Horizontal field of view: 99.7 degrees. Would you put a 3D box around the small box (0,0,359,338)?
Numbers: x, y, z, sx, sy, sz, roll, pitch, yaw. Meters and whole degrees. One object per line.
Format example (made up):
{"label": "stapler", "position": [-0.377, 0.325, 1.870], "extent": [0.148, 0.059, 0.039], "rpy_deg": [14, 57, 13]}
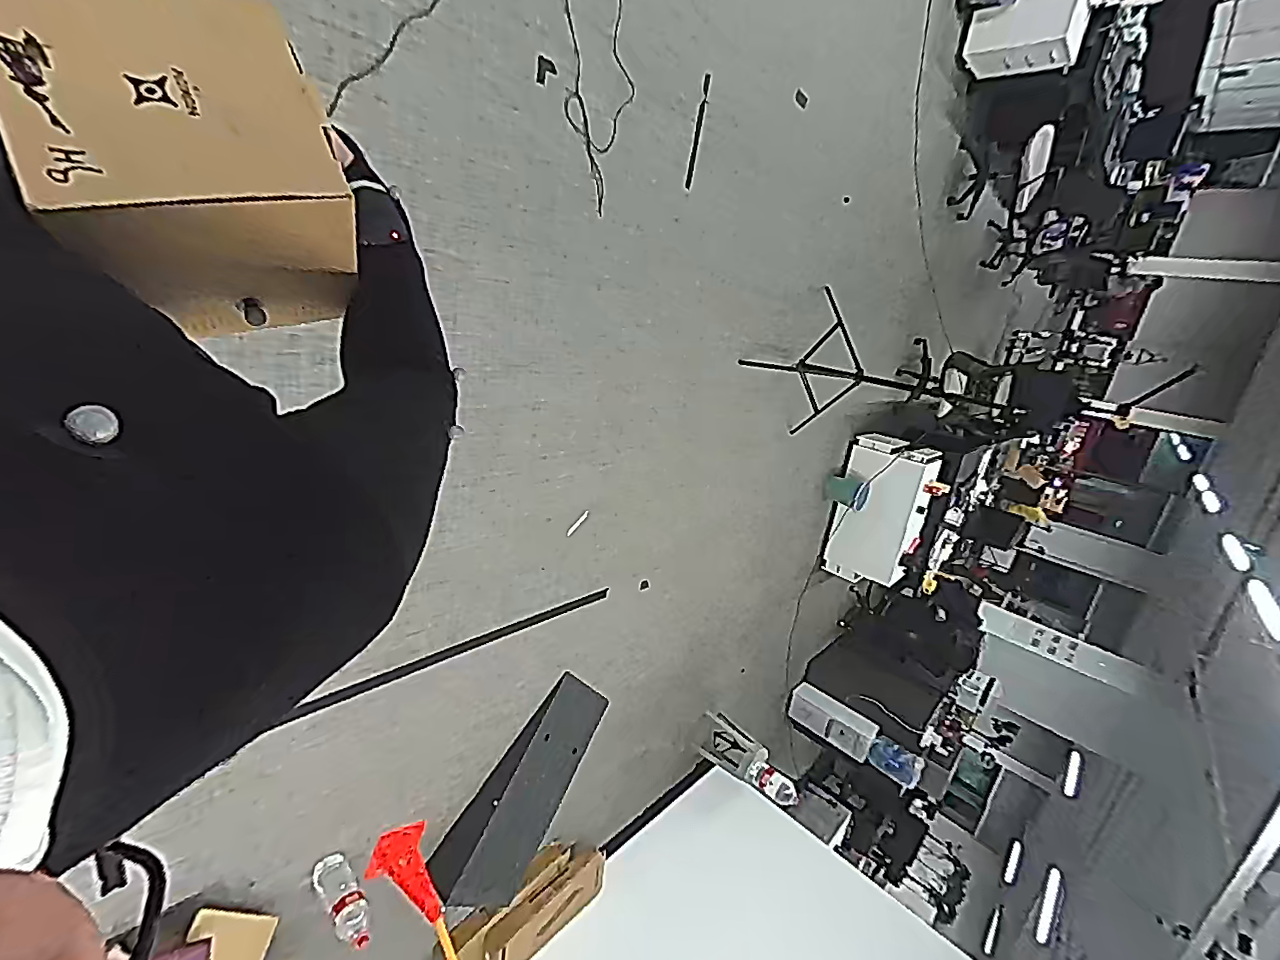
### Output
{"label": "small box", "position": [-0.351, -0.239, 0.444], "extent": [0.179, 0.176, 0.168], "rpy_deg": [-21, 84, -29]}
